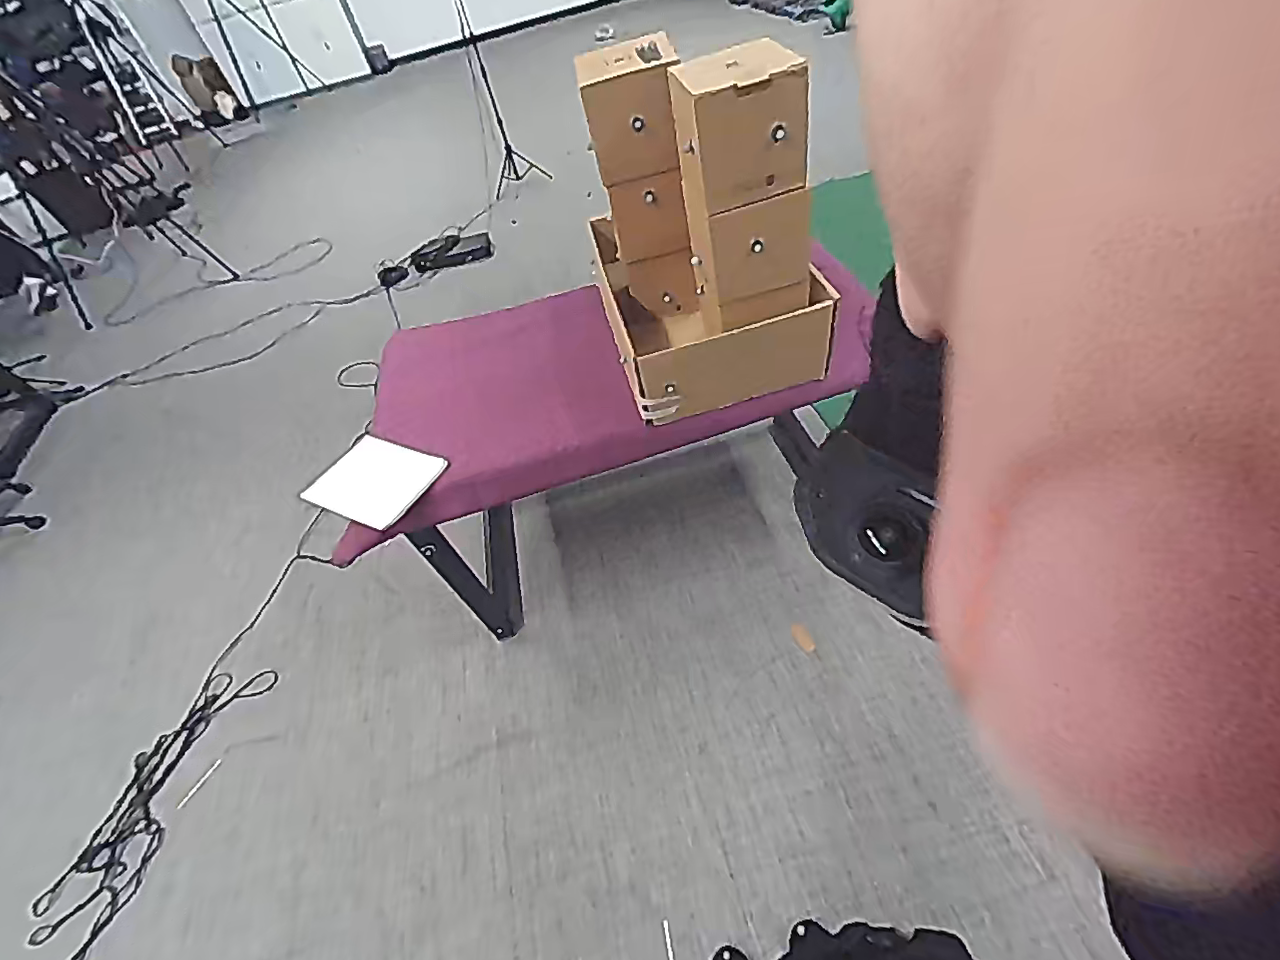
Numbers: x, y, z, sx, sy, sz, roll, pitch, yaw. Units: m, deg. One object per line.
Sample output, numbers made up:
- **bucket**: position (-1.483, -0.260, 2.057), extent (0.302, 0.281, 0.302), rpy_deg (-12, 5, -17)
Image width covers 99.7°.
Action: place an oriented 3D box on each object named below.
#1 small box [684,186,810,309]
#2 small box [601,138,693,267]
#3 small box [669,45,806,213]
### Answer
- **small box**: position (0.191, -0.440, 0.975), extent (0.179, 0.176, 0.168), rpy_deg (-17, 48, 3)
- **small box**: position (0.026, -0.581, 1.141), extent (0.179, 0.176, 0.168), rpy_deg (-12, 52, 4)
- **small box**: position (0.154, -0.548, 0.858), extent (0.168, 0.176, 0.179), rpy_deg (-15, 48, 2)
